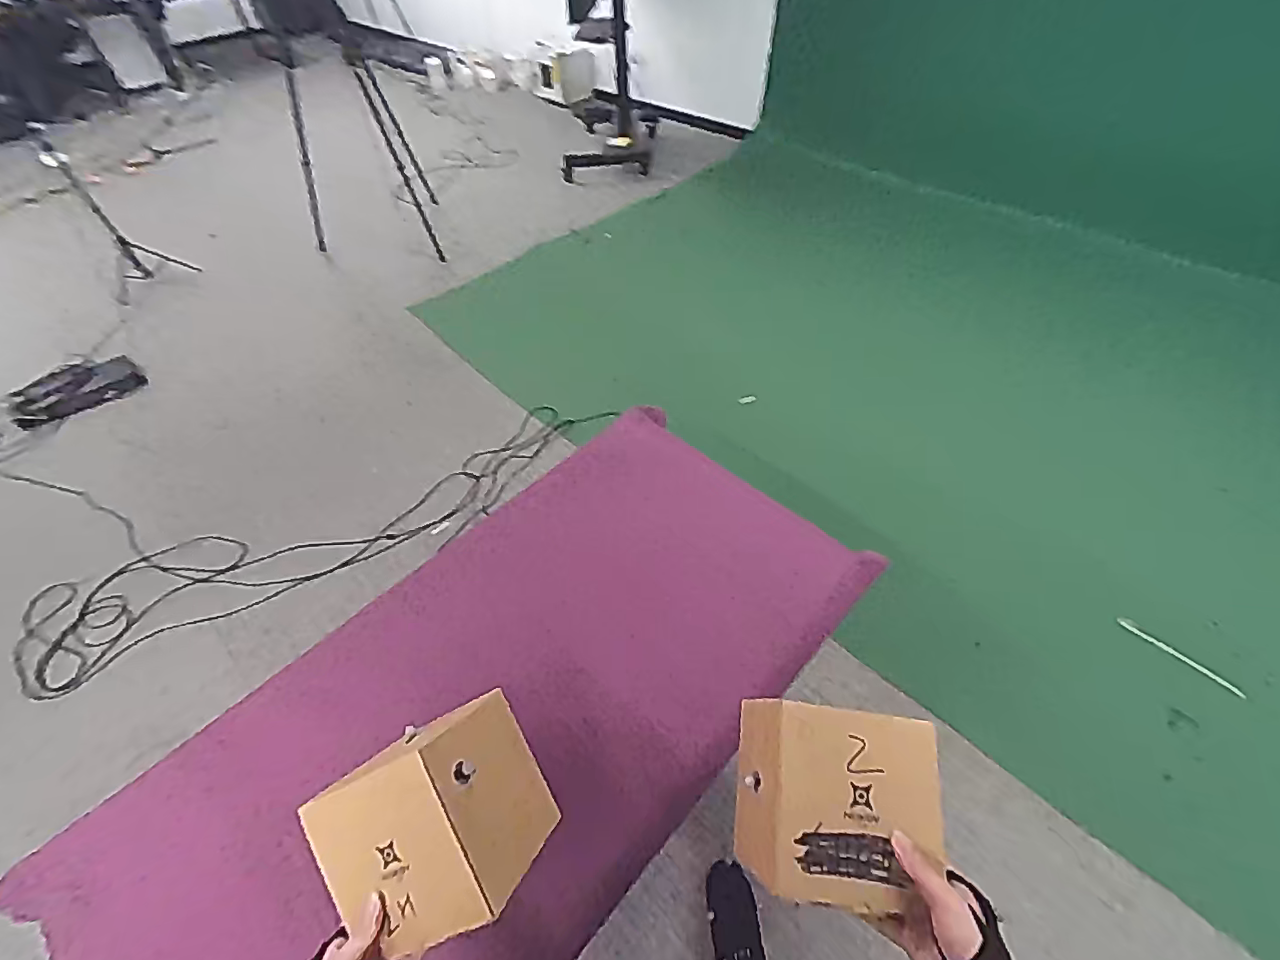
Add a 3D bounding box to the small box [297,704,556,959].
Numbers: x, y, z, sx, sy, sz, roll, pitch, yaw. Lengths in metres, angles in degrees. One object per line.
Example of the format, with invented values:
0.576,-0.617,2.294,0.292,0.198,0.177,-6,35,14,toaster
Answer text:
-0.223,0.374,0.600,0.168,0.176,0.179,-29,83,12,small box
